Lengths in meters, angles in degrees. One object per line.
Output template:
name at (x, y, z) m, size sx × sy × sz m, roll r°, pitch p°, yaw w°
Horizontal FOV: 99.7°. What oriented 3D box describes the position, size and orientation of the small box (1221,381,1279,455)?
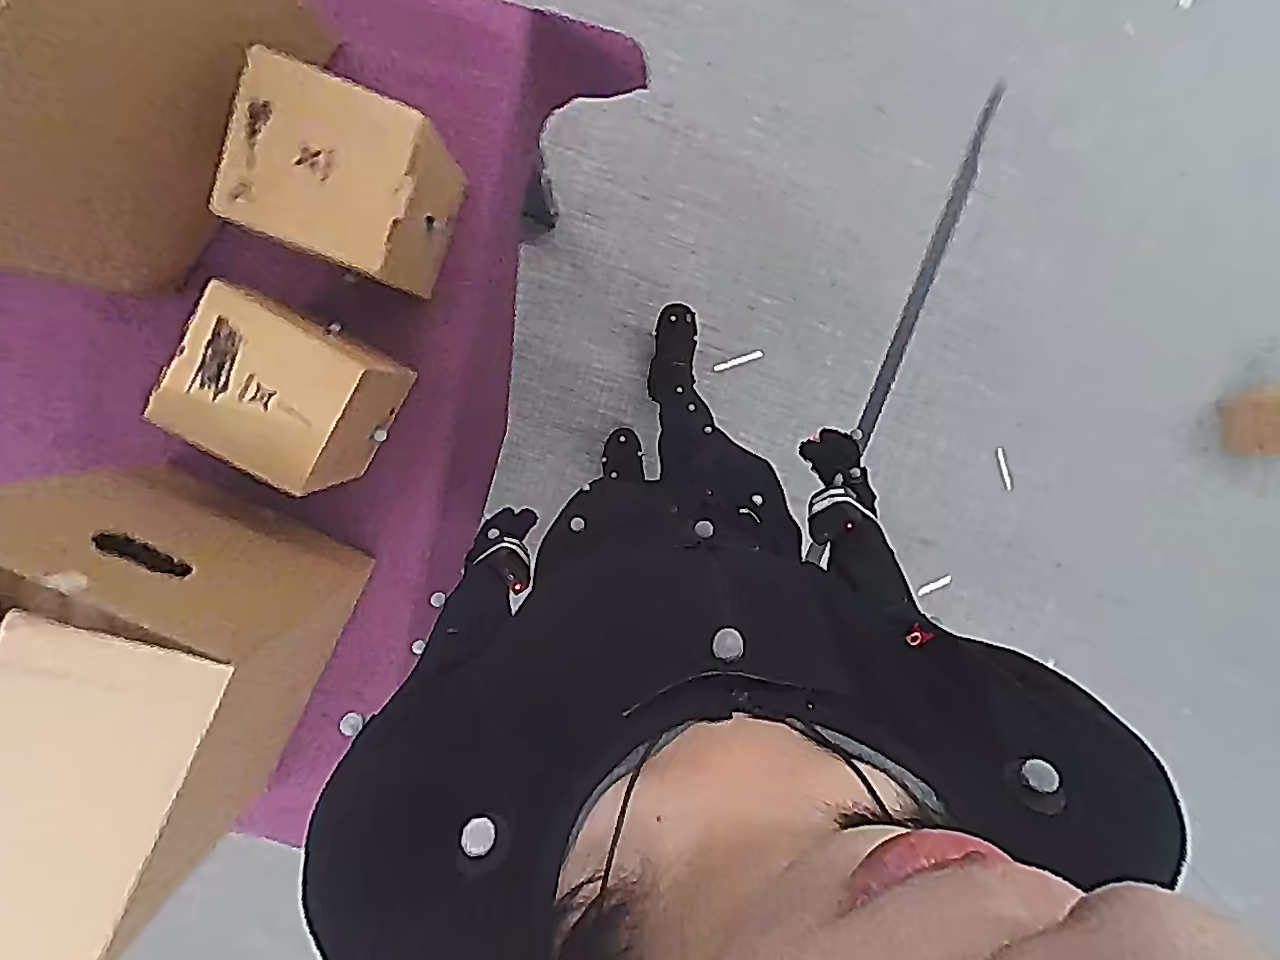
small box at (1.821, -0.180, 1.530) m, size 0.168 × 0.176 × 0.179 m, roll -19°, pitch 98°, yaw -2°
